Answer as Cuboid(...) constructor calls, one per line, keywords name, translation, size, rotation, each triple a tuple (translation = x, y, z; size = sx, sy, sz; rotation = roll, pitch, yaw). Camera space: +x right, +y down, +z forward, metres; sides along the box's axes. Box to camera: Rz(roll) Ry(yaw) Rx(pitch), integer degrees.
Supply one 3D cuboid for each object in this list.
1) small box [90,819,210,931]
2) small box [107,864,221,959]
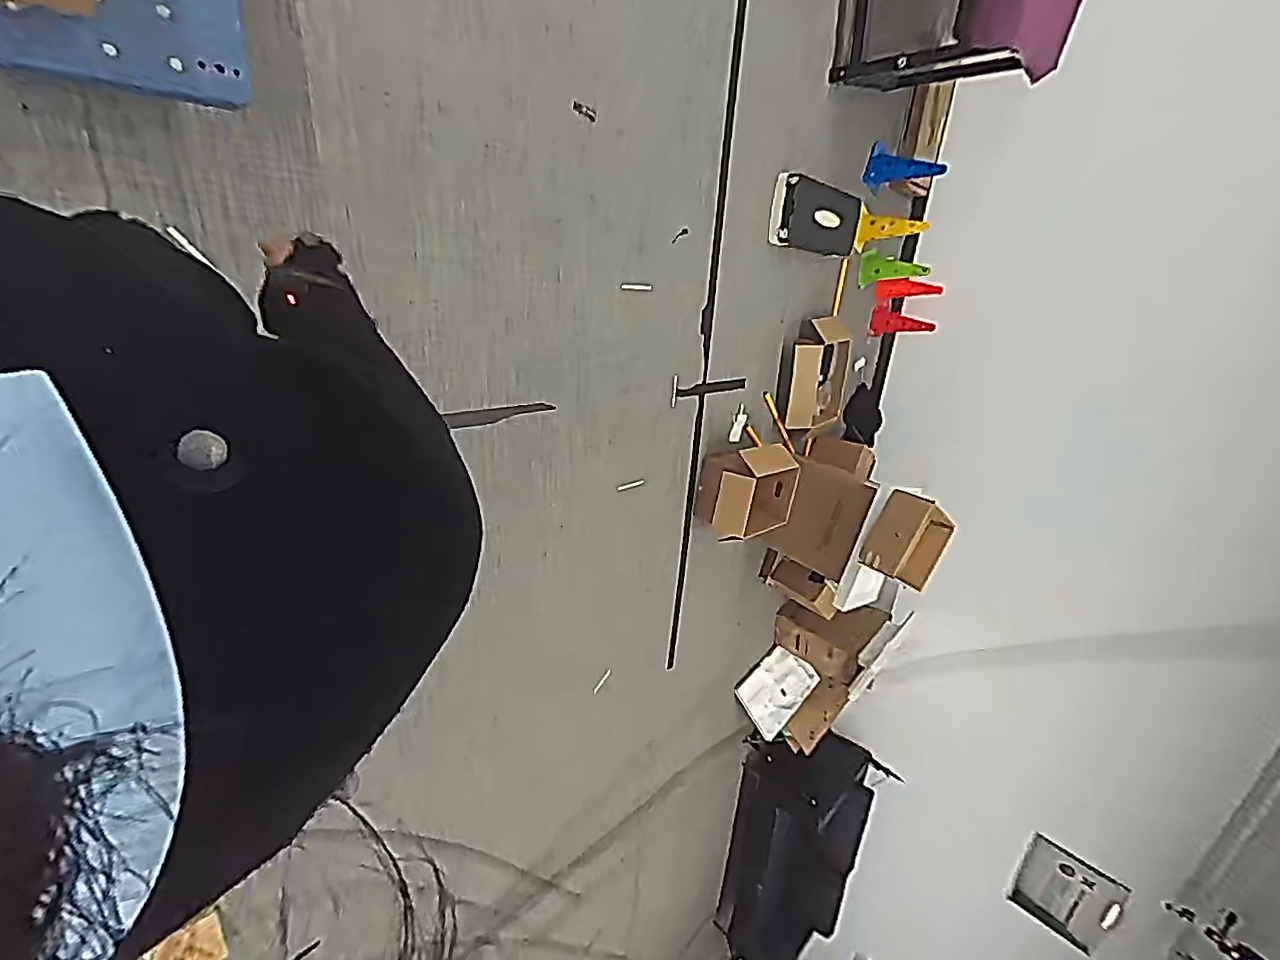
Cuboid(name="small box", translation=(-1.229, 1.006, 1.359), size=(0.168, 0.176, 0.179), rotation=(-30, 129, -37))
Cuboid(name="small box", translation=(-1.110, 1.061, 1.263), size=(0.168, 0.176, 0.179), rotation=(-16, 119, -43))
